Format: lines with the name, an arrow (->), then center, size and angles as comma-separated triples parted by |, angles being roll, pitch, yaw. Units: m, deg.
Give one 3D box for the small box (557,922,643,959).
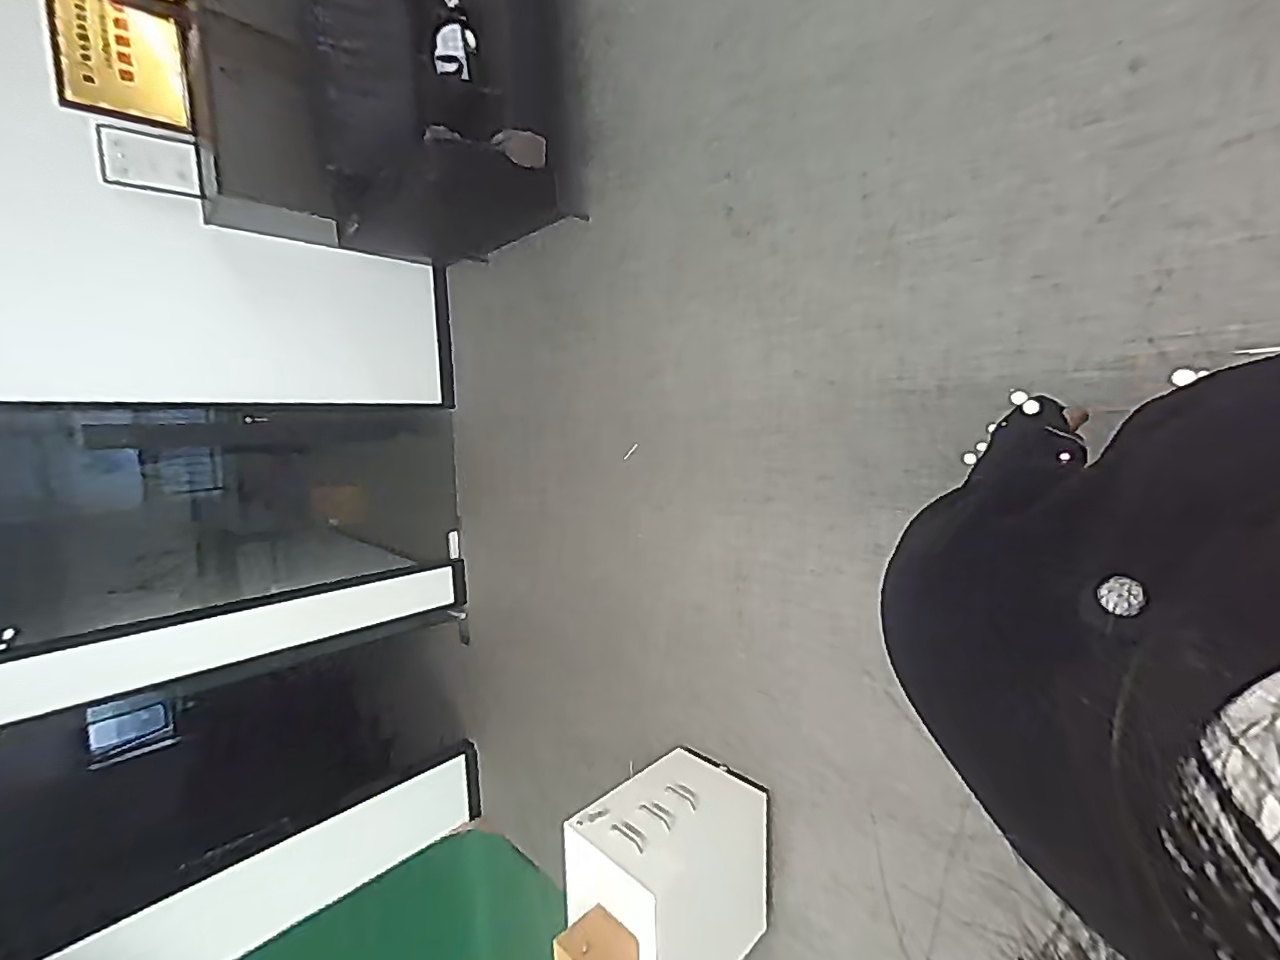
small box -> -0.107, 1.368, 1.477 | 0.179, 0.176, 0.168 | 2, 96, 45
